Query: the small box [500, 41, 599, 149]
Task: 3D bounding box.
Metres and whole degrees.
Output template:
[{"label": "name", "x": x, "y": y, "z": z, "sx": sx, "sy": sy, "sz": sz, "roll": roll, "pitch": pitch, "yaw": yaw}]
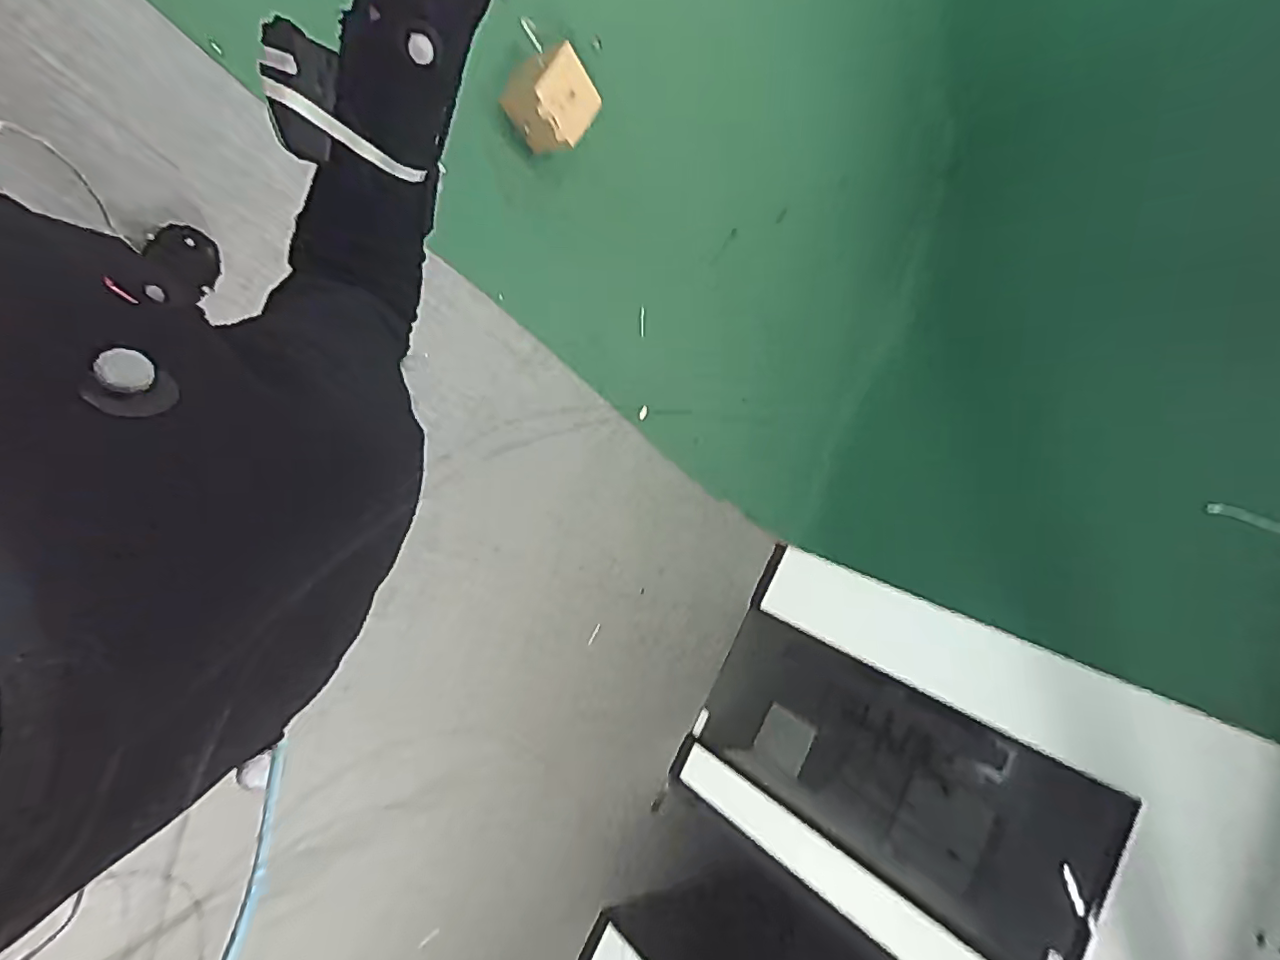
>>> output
[{"label": "small box", "x": -0.250, "y": -1.047, "z": 1.483, "sx": 0.168, "sy": 0.176, "sz": 0.179, "roll": 40, "pitch": 76, "yaw": -50}]
